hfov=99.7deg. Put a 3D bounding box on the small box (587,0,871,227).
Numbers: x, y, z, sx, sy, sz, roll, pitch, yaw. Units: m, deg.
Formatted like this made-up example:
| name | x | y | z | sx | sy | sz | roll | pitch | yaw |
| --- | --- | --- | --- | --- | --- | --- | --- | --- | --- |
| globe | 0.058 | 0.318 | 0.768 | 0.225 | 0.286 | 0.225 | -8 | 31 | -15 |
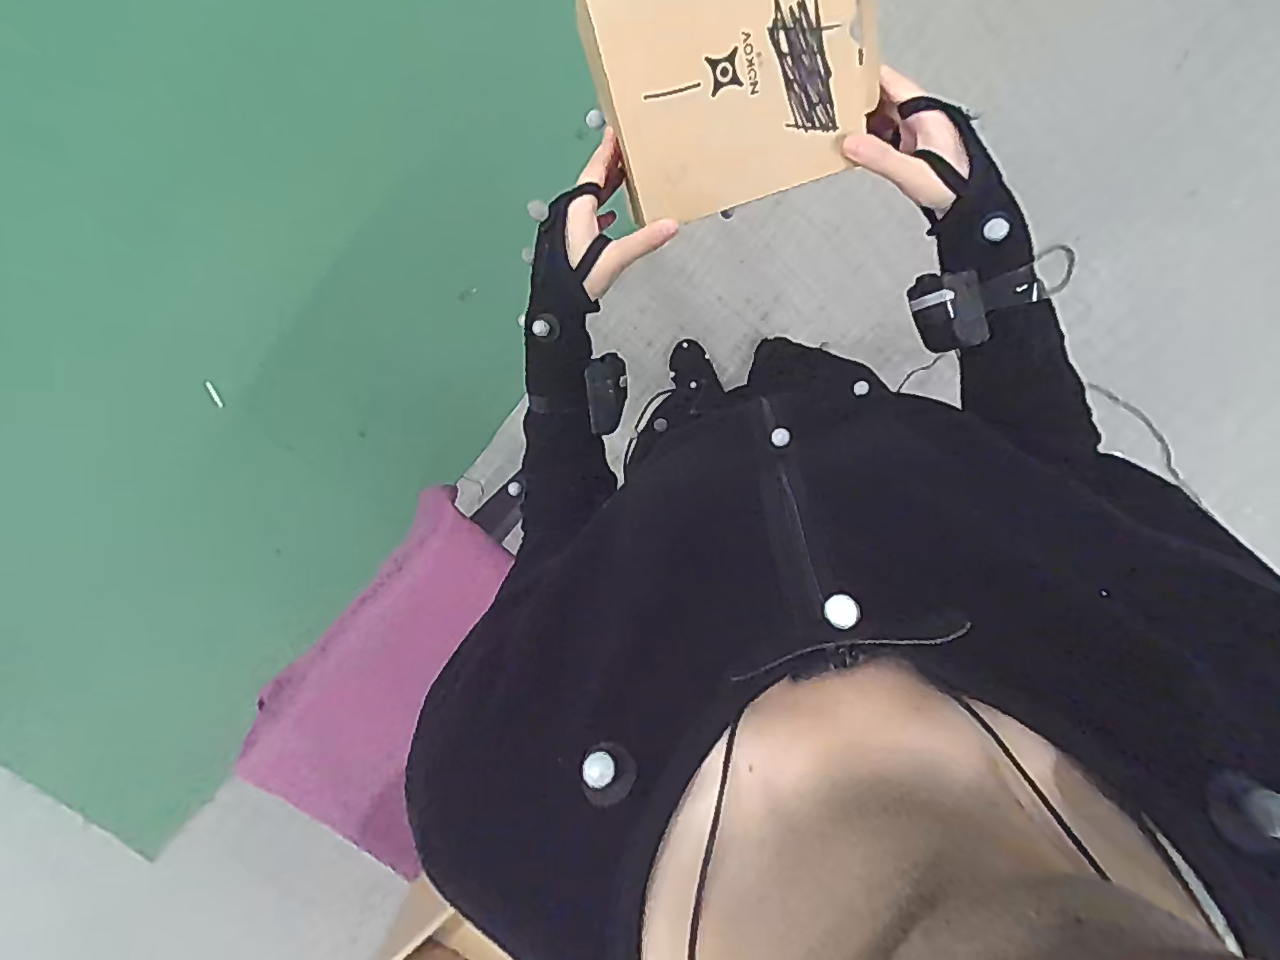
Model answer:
| name | x | y | z | sx | sy | sz | roll | pitch | yaw |
| --- | --- | --- | --- | --- | --- | --- | --- | --- | --- |
| small box | 0.061 | -0.320 | 0.435 | 0.179 | 0.176 | 0.168 | -16 | 119 | 4 |
